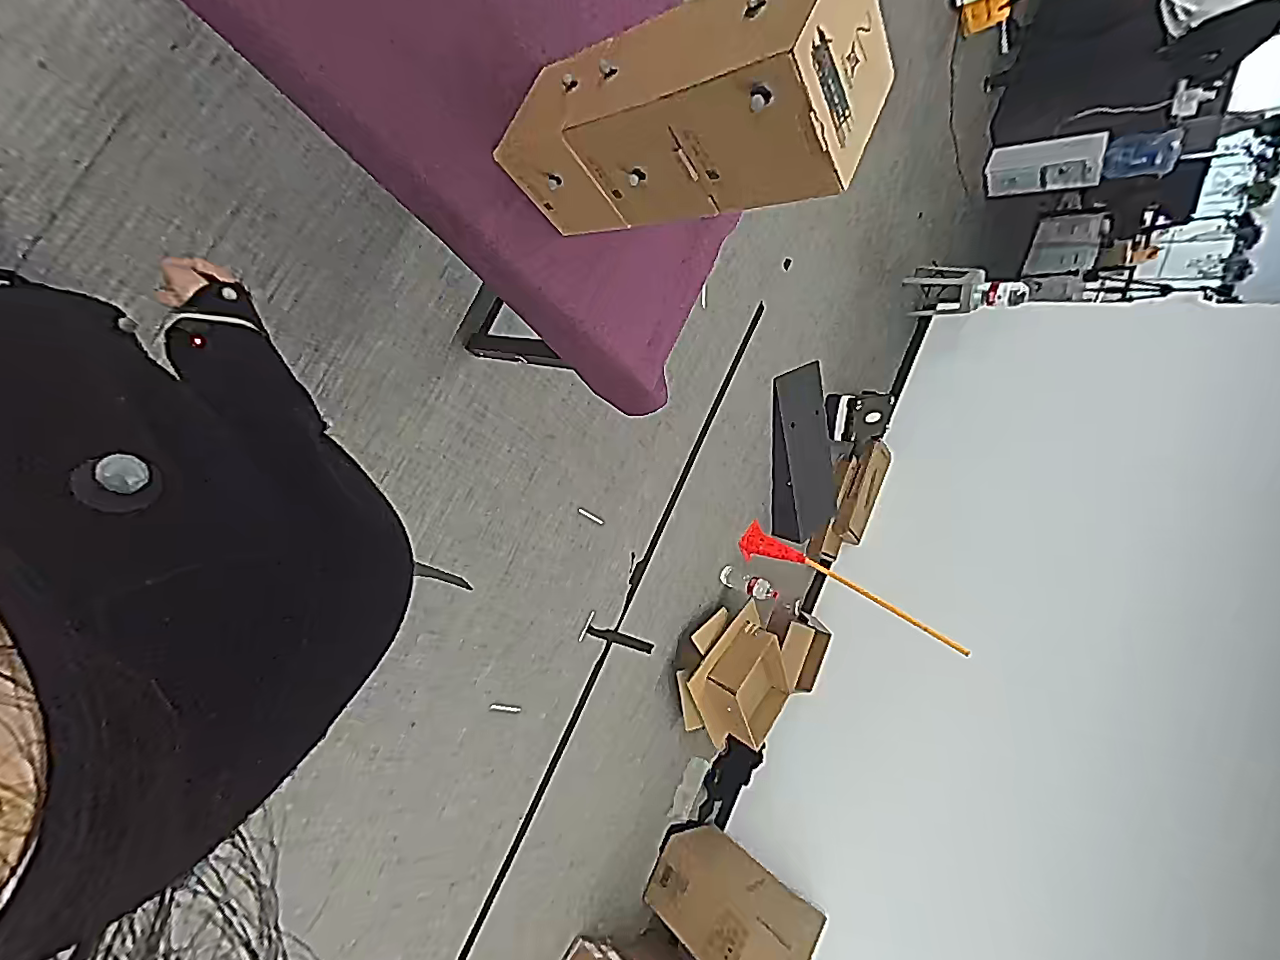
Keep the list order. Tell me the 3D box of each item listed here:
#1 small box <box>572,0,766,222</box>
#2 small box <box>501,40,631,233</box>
[{"bbox_3d":[0.035,-0.475,0.723,0.168,0.176,0.179,37,75,-47],"label":"small box"},{"bbox_3d":[-0.086,-0.507,0.829,0.168,0.176,0.179,36,75,-47],"label":"small box"}]
